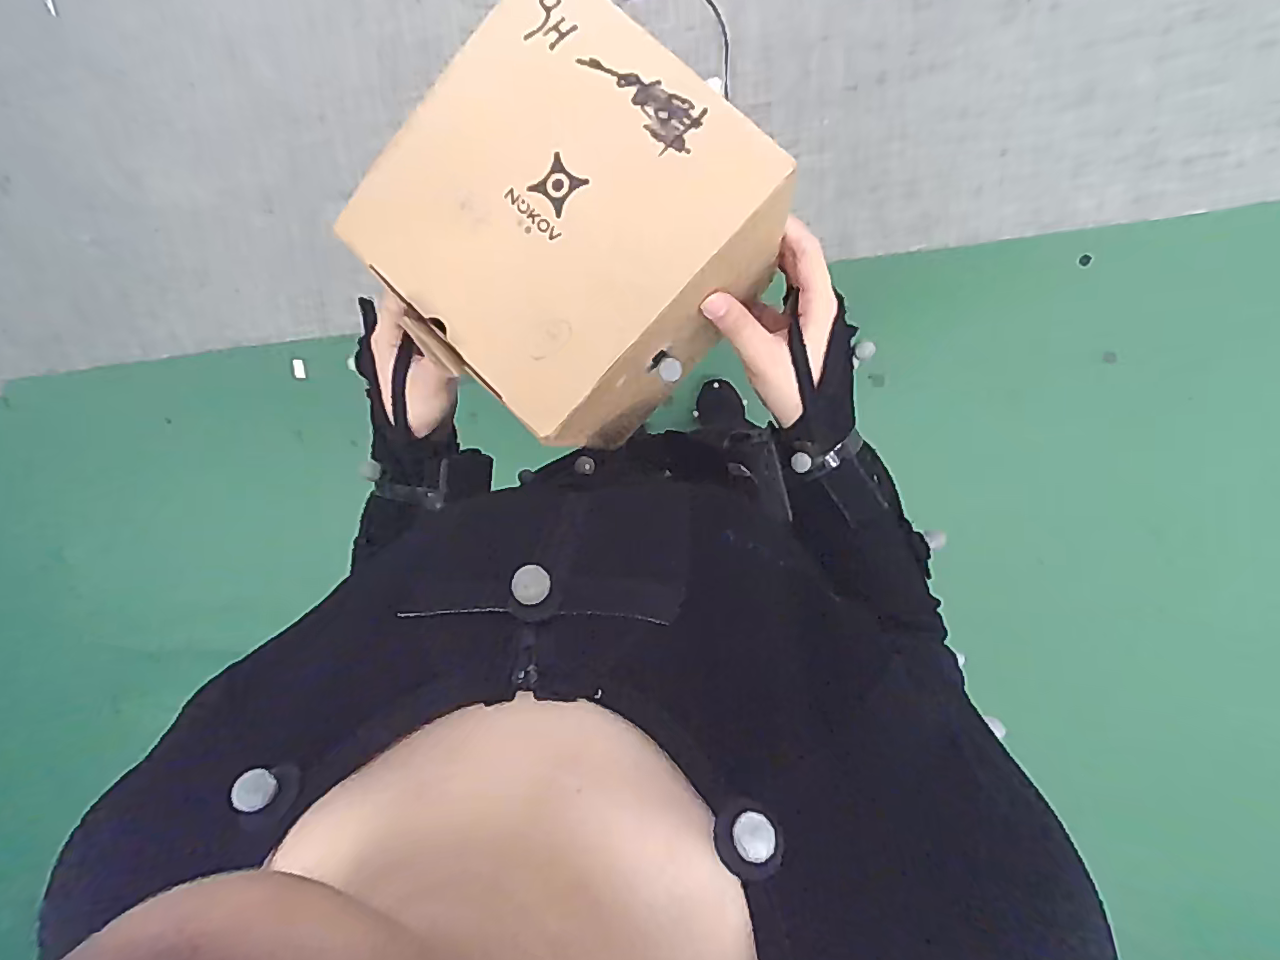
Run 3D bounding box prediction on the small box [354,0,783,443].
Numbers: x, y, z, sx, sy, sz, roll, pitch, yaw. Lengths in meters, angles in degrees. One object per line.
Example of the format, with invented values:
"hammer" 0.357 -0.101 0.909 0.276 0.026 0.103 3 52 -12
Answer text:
"small box" -0.029 -0.137 0.353 0.168 0.176 0.179 44 99 6
